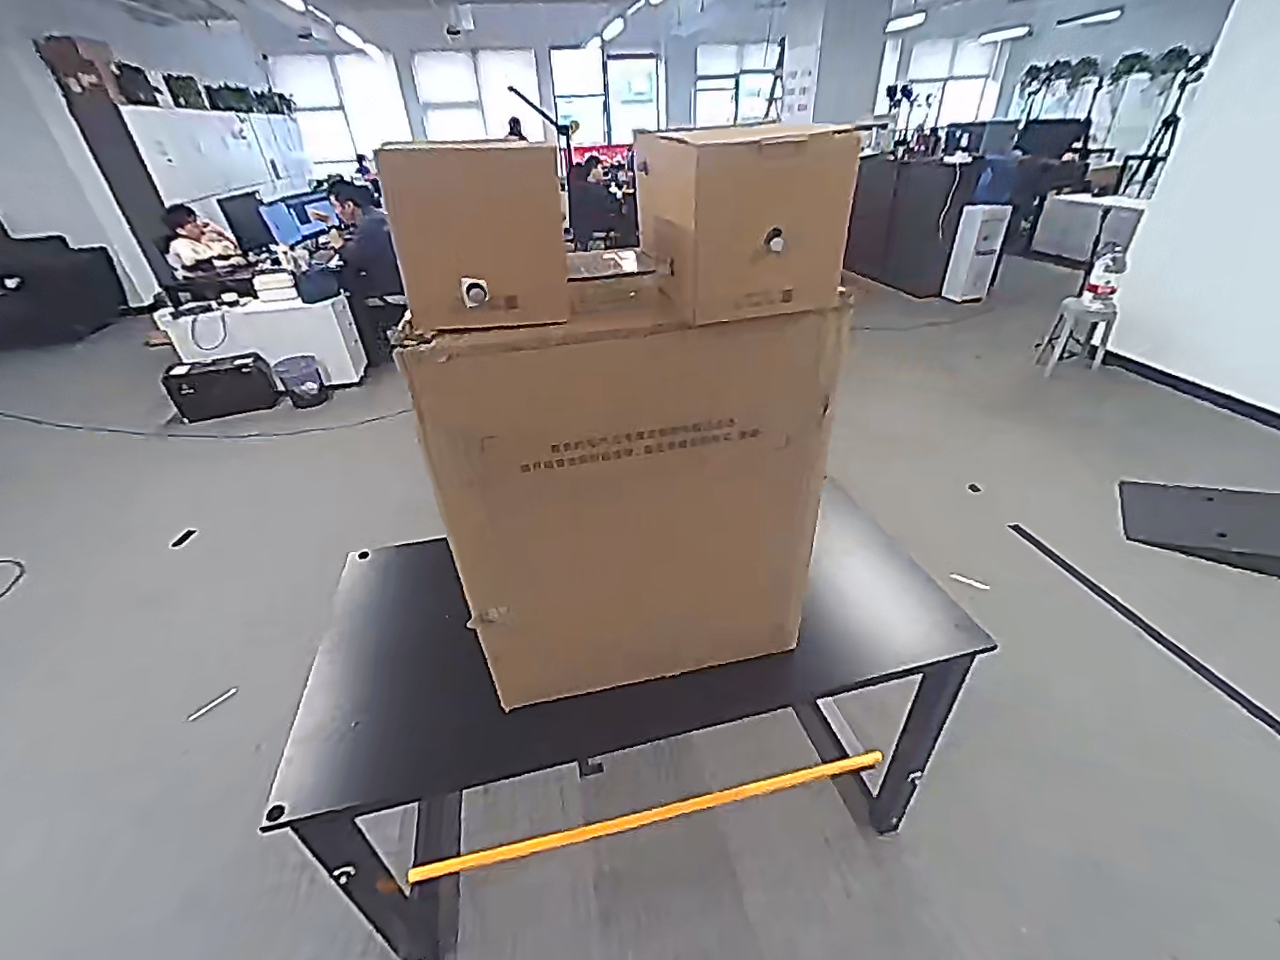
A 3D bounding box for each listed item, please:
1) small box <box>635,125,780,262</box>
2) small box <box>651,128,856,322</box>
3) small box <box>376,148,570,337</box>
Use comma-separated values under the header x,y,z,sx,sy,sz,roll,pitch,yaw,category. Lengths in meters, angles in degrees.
x,y,z,sx,sy,sz,roll,pitch,yaw,category
0.093,-0.419,0.806,0.168,0.176,0.179,-11,32,-9,small box
0.114,-0.285,0.610,0.168,0.176,0.179,-10,37,-8,small box
-0.173,-0.270,0.604,0.168,0.176,0.179,-8,35,-10,small box
